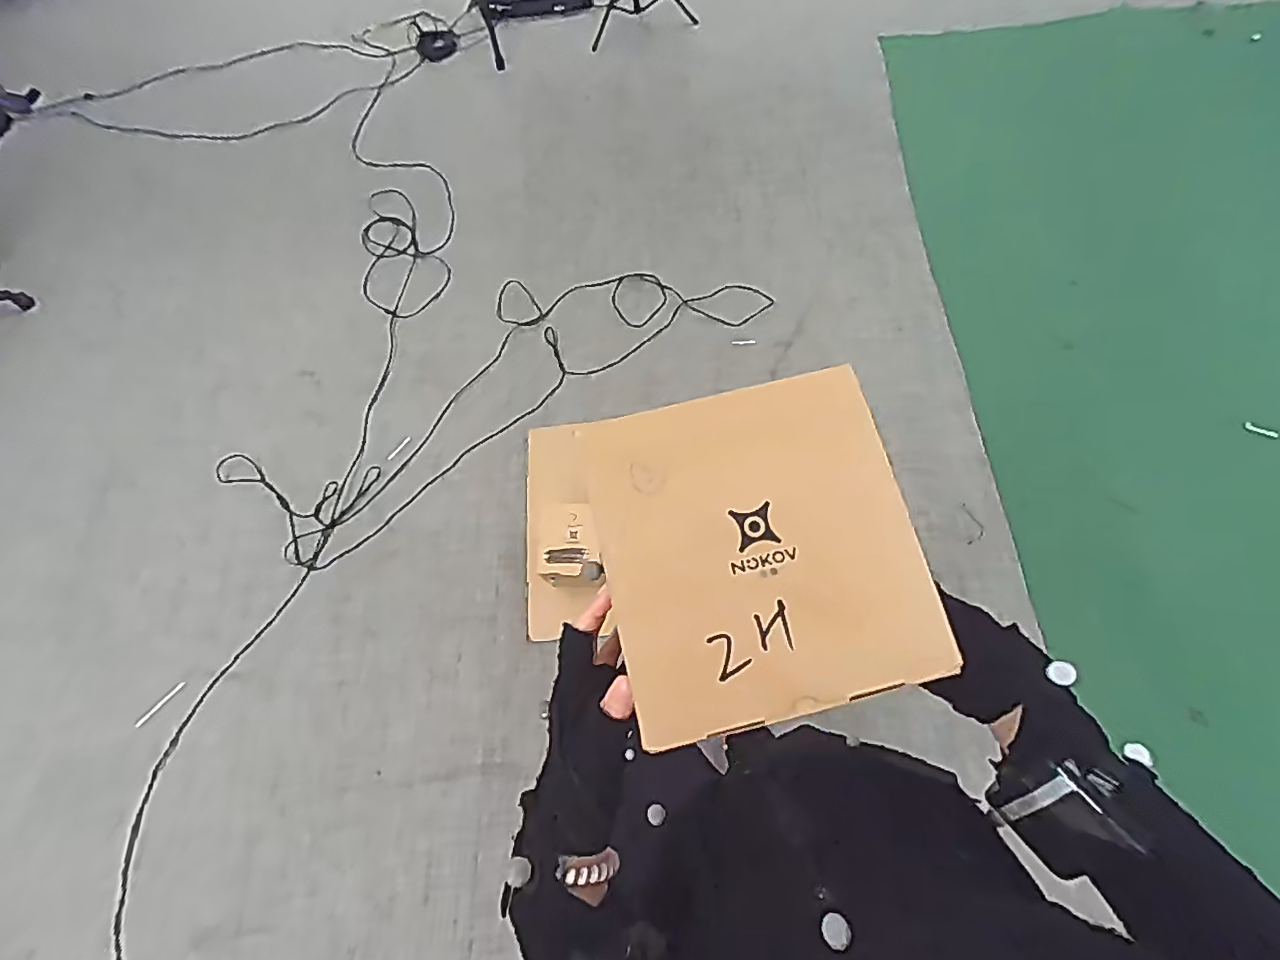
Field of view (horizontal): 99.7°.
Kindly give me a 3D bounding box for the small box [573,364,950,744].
[{"bbox_3d":[0.059,0.050,0.366,0.168,0.176,0.179,-14,77,-2],"label":"small box"}]
